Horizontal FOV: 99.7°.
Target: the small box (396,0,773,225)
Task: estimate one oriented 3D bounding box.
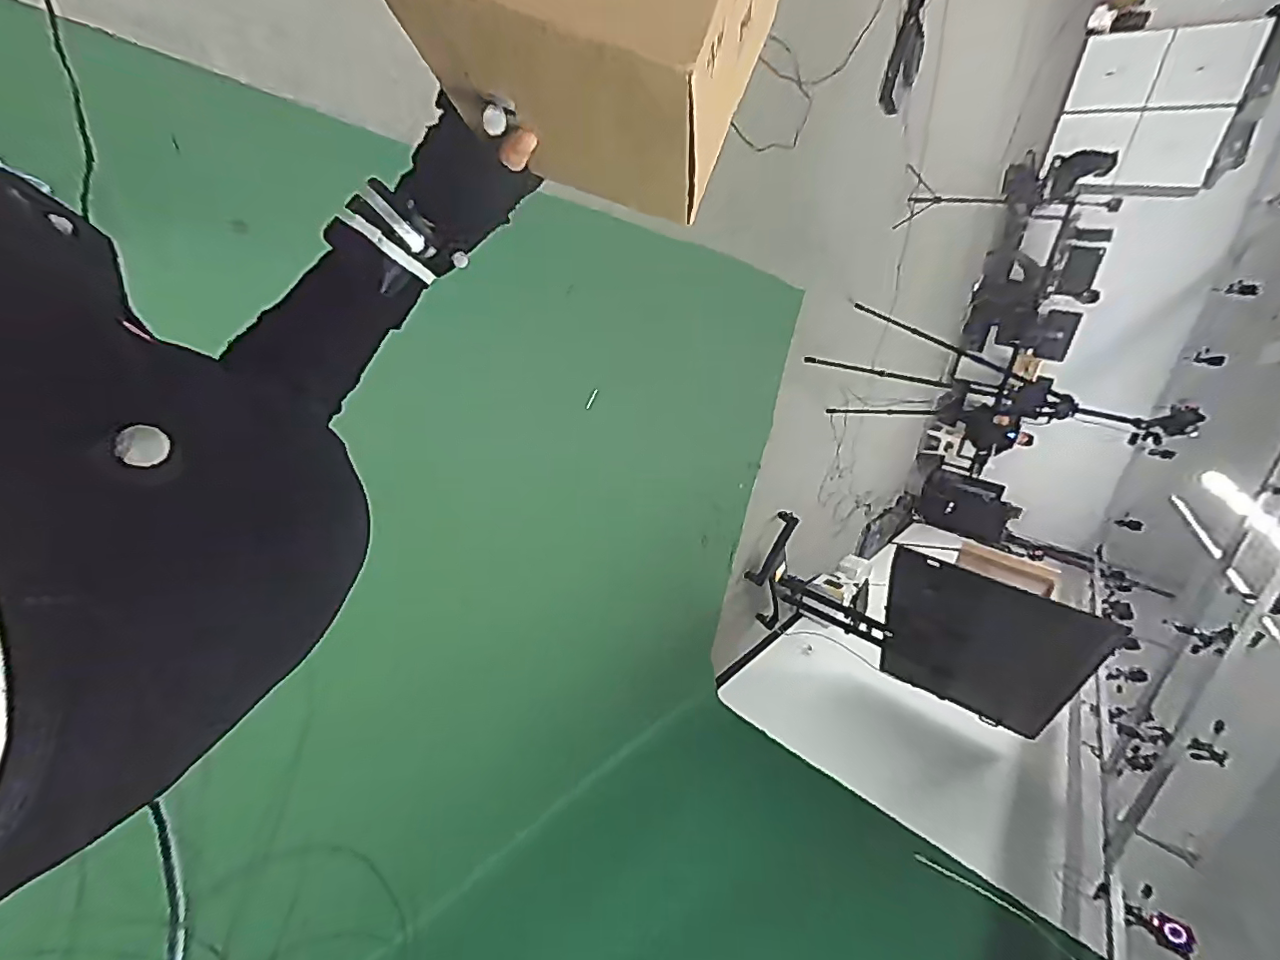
[{"bbox_3d":[-0.017,-0.288,0.318,0.179,0.176,0.168,-54,165,-84],"label":"small box"}]
